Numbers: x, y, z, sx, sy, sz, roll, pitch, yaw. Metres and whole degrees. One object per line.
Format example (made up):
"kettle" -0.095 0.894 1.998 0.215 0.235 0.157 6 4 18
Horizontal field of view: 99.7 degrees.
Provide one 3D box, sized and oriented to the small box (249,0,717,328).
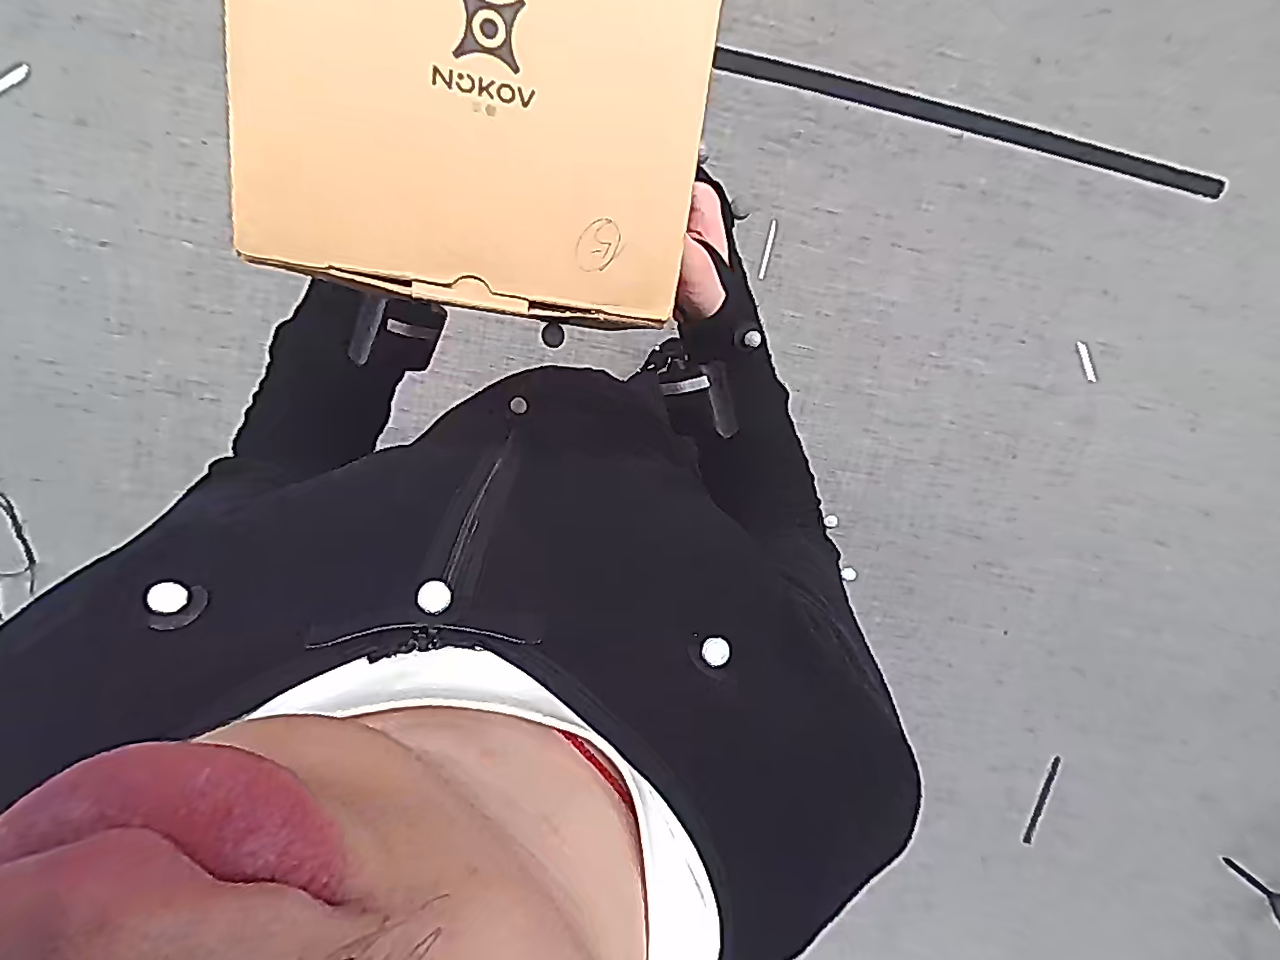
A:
"small box" -0.070 -0.179 0.280 0.168 0.176 0.179 5 103 -13
